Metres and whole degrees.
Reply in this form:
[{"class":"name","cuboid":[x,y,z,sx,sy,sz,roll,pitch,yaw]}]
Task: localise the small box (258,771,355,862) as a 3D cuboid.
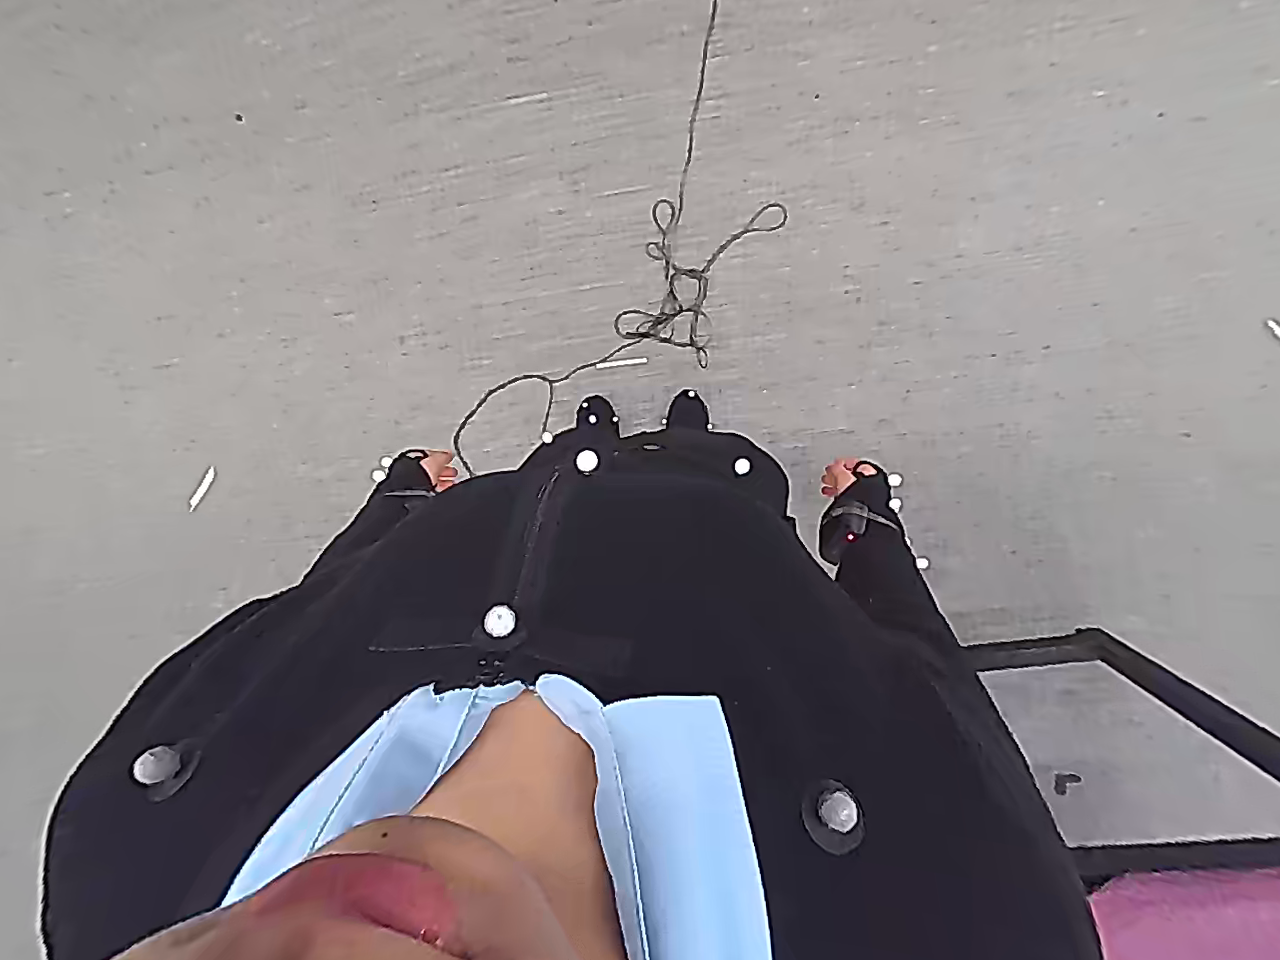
[{"class":"small box","cuboid":[-0.996,1.012,1.637,0.179,0.176,0.168,-9,99,6]}]
